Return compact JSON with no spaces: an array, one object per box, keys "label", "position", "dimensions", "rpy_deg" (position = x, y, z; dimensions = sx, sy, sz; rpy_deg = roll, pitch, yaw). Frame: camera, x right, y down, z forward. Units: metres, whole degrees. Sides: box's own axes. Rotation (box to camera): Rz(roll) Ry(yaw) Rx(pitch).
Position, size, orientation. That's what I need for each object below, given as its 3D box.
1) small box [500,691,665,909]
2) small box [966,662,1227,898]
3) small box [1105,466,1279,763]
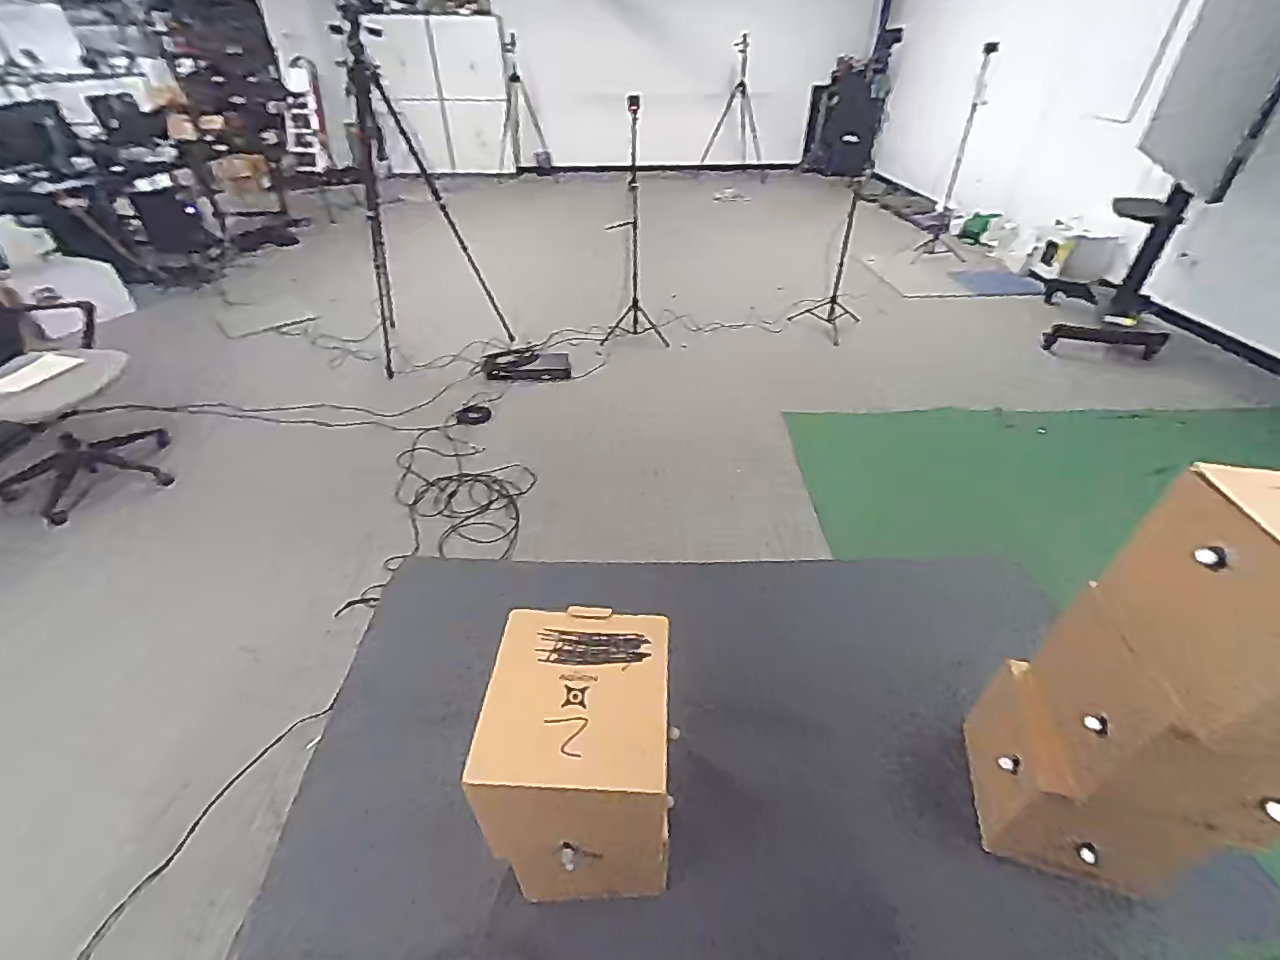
[{"label":"small box","position":[-0.060,0.378,0.648],"dimensions":[0.168,0.176,0.179],"rpy_deg":[-2,37,-1]},{"label":"small box","position":[0.522,0.360,0.655],"dimensions":[0.168,0.176,0.179],"rpy_deg":[11,38,14]},{"label":"small box","position":[0.547,0.111,0.444],"dimensions":[0.168,0.176,0.179],"rpy_deg":[4,38,6]}]
